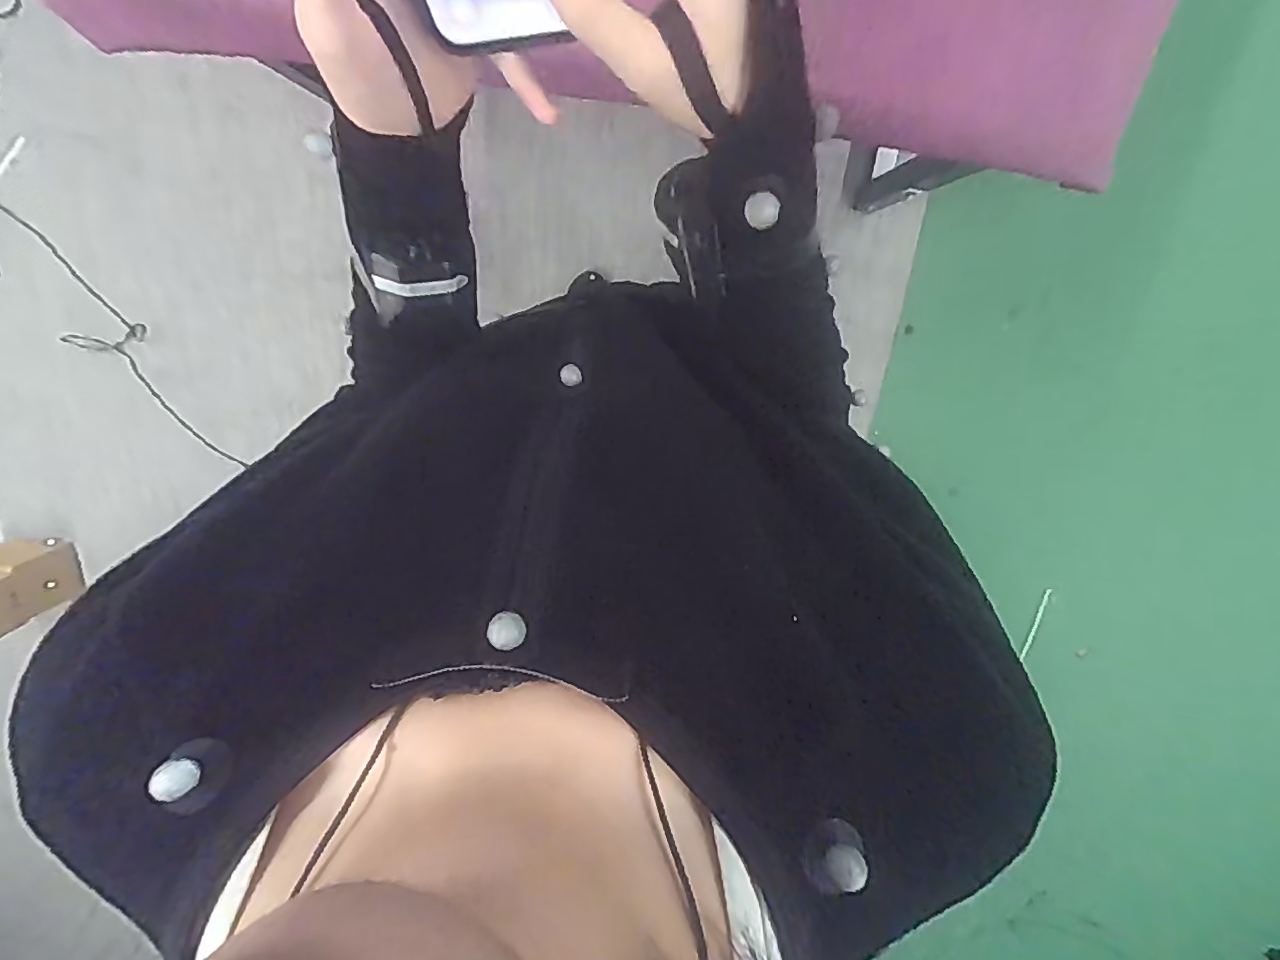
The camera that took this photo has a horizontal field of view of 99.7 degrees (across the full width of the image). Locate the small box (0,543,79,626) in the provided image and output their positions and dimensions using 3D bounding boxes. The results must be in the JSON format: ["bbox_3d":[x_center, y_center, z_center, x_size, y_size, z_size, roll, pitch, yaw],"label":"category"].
[{"bbox_3d":[-1.805,0.297,1.569,0.168,0.176,0.179,6,109,-1],"label":"small box"}]

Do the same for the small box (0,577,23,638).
[{"bbox_3d":[-1.807,0.355,1.416,0.179,0.176,0.168,7,109,-1],"label":"small box"}]
